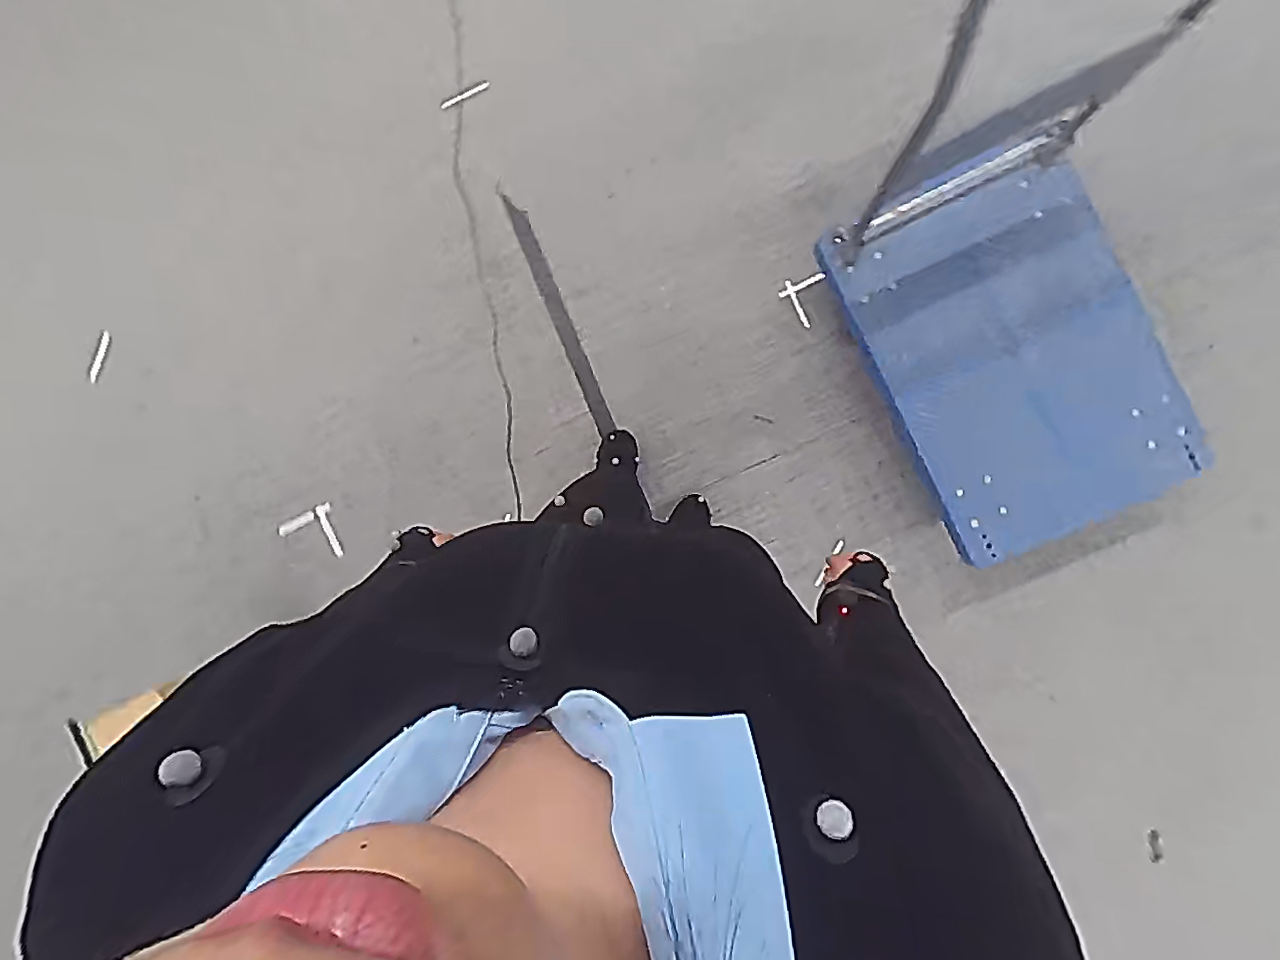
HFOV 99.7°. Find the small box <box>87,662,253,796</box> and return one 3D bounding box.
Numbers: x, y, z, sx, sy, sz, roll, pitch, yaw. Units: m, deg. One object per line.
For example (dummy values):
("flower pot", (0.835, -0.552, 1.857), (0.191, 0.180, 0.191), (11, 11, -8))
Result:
("small box", (-0.990, 0.521, 1.155), (0.179, 0.176, 0.168), (-29, 90, 2))
